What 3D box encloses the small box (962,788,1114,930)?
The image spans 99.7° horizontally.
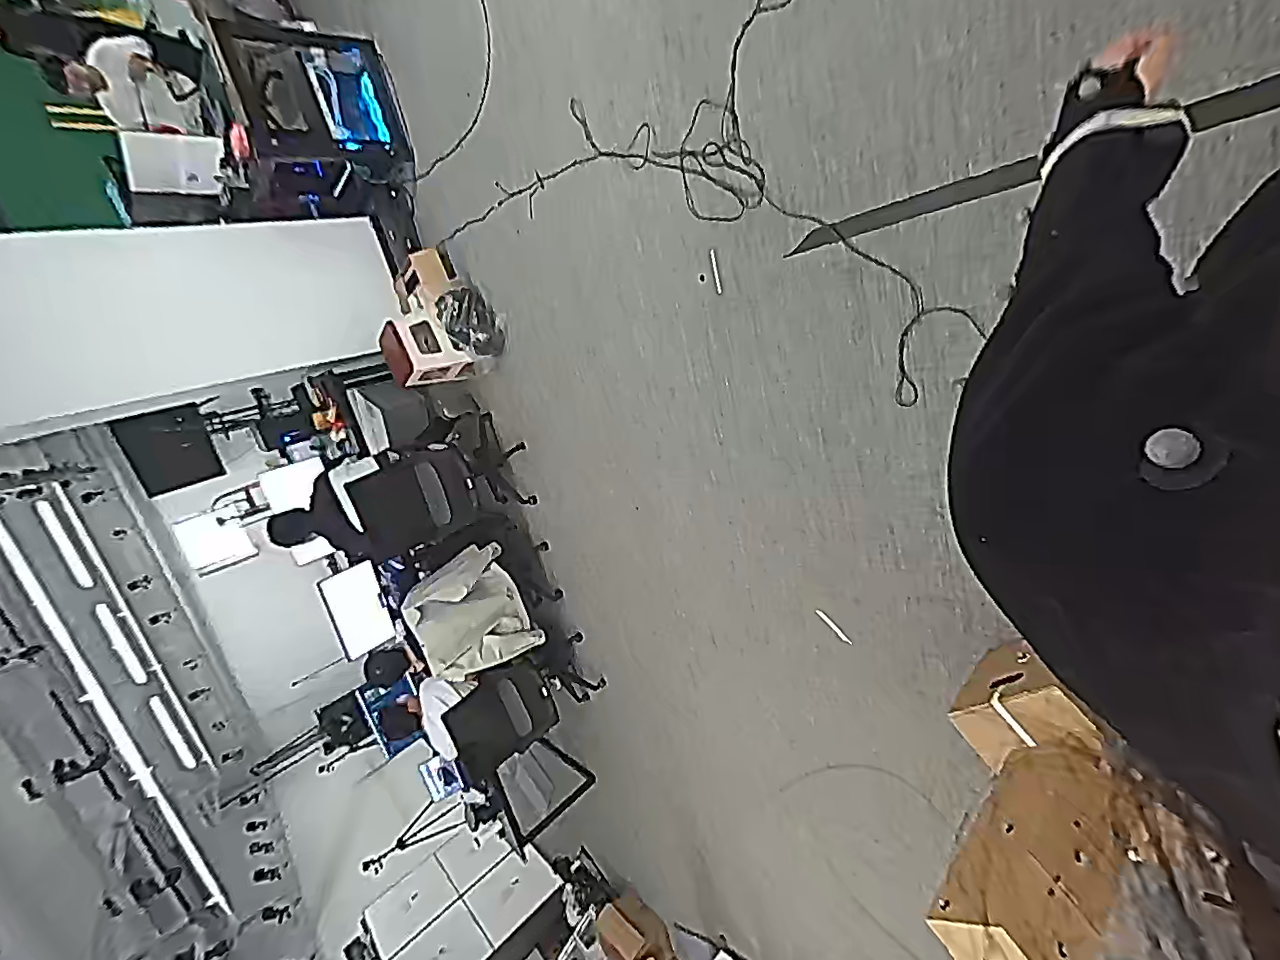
[{"bbox_3d":[0.804,0.754,1.090,0.168,0.176,0.179,51,142,17],"label":"small box"}]

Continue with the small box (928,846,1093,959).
[{"bbox_3d":[0.684,0.810,0.994,0.168,0.176,0.179,52,143,15],"label":"small box"}]
